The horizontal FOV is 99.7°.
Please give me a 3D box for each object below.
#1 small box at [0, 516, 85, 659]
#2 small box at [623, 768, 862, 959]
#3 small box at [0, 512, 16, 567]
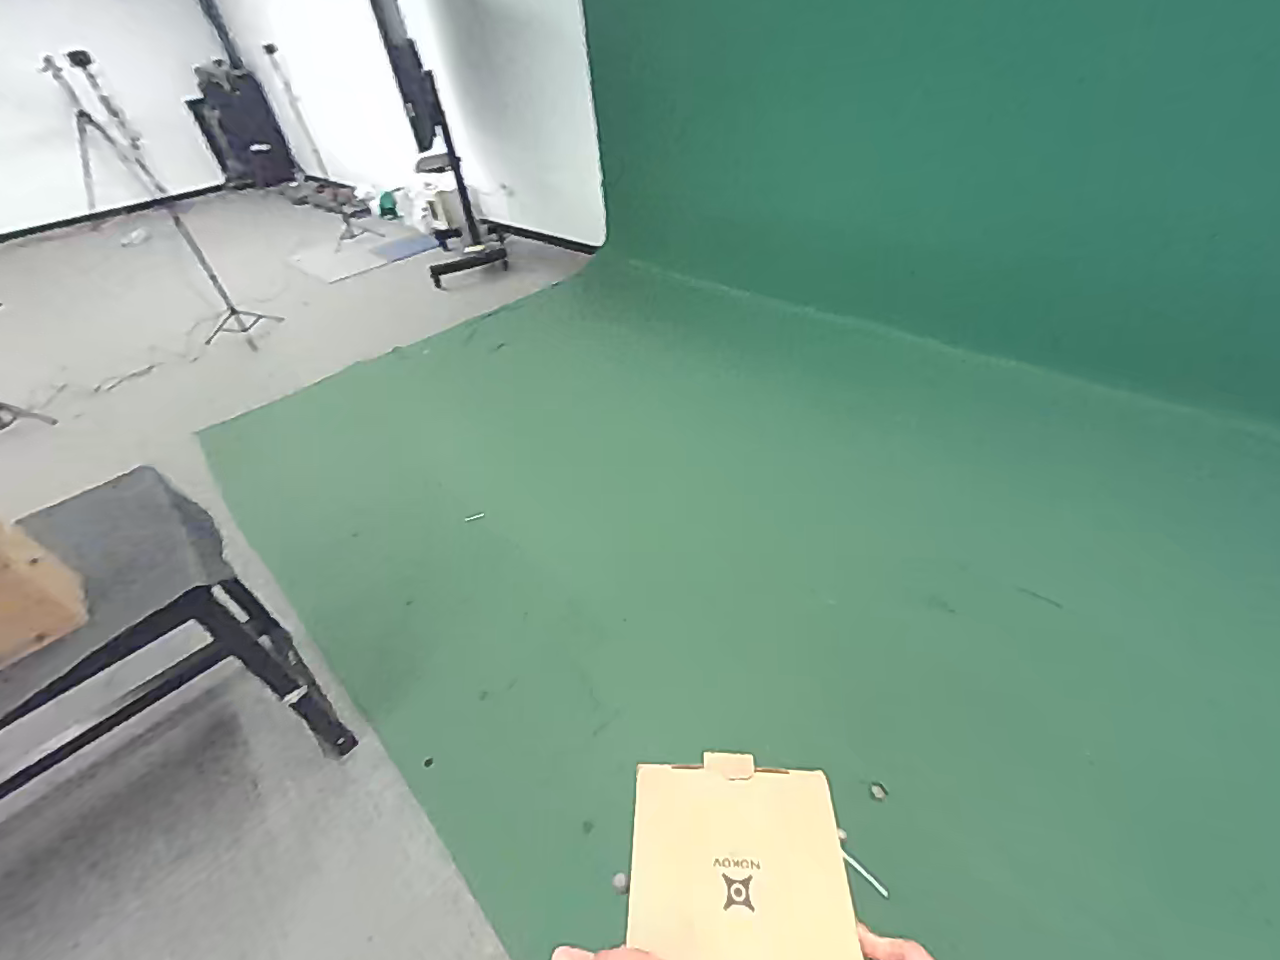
[{"bbox_3d":[-1.149,0.202,0.963,0.168,0.176,0.179,-37,47,-29],"label":"small box"},{"bbox_3d":[0.077,0.368,0.449,0.168,0.176,0.179,-1,36,4],"label":"small box"},{"bbox_3d":[-1.165,0.081,0.856,0.179,0.176,0.168,26,52,33],"label":"small box"}]
